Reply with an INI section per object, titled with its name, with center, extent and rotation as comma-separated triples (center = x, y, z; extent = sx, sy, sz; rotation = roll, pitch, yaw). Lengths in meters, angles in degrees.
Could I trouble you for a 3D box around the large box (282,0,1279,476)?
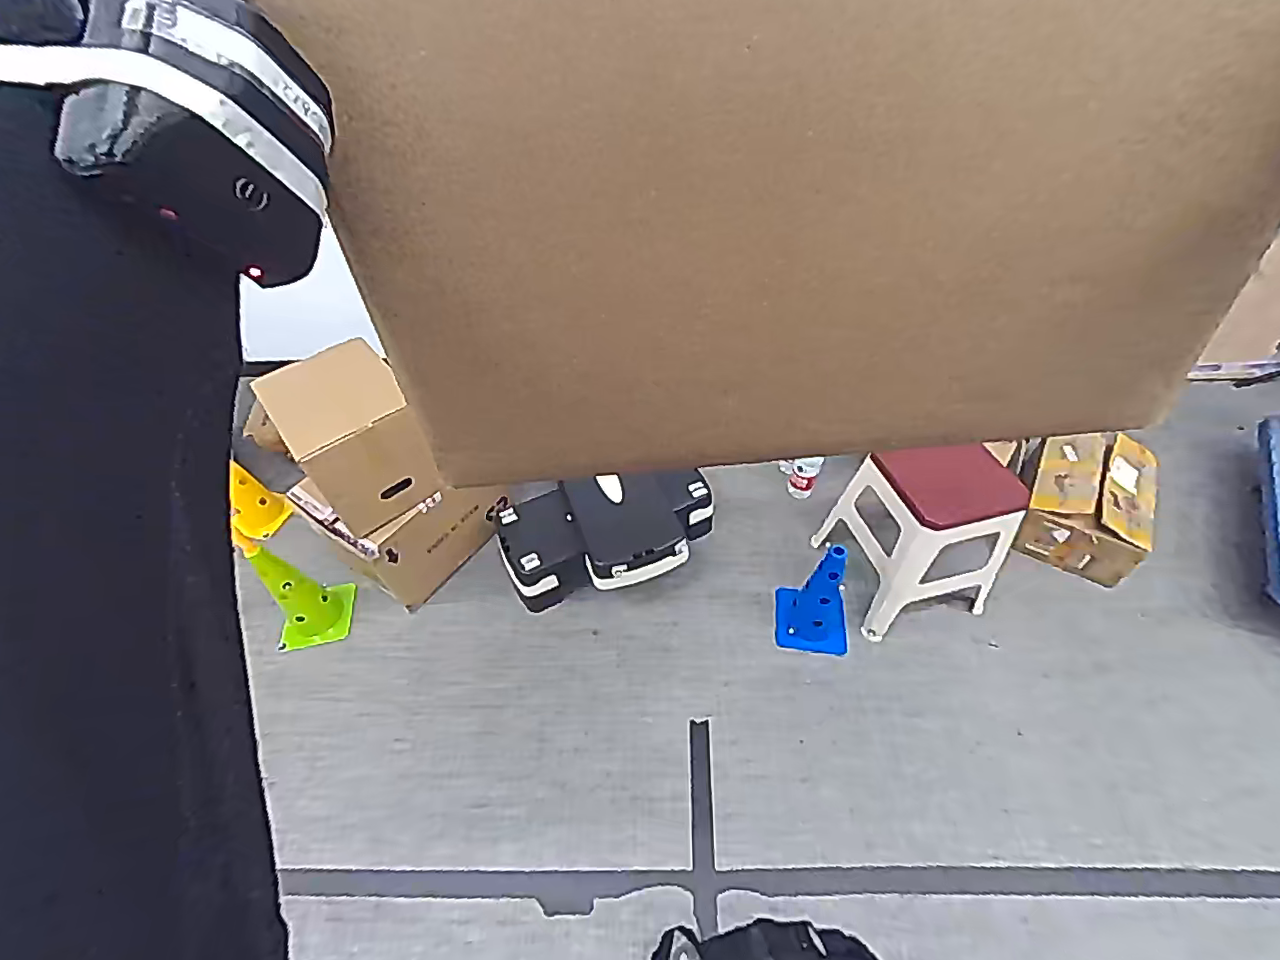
[large box]
center = 0.065, -0.226, 0.338
extent = 0.408, 0.320, 0.320
rotation = -5, 40, -1
